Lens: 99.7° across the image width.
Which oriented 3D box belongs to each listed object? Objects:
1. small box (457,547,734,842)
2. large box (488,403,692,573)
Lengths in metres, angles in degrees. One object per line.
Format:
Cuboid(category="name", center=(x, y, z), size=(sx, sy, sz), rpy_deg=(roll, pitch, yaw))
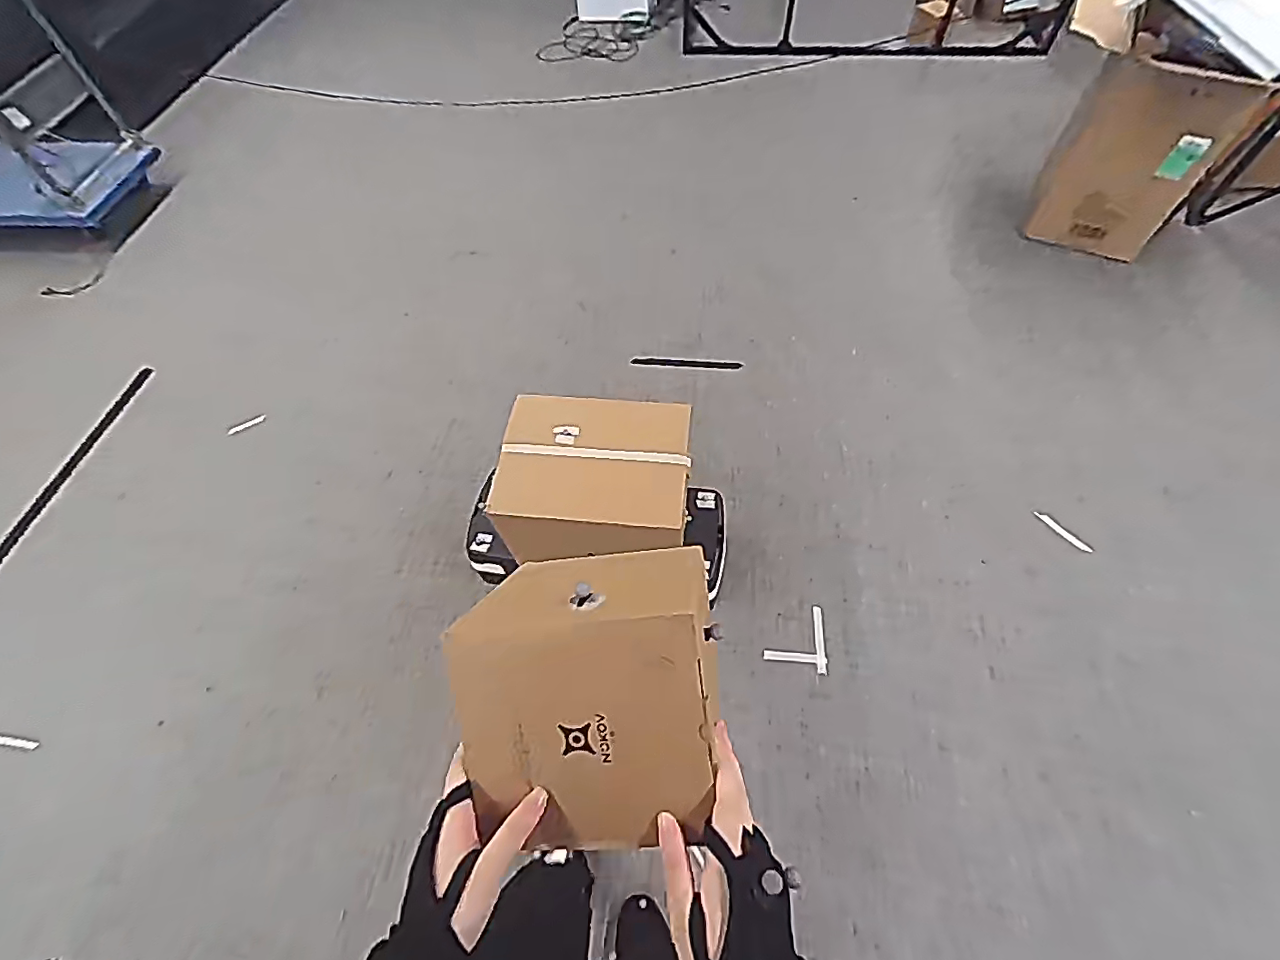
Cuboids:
Cuboid(category="small box", center=(-0.021, 0.156, 0.442), size=(0.179, 0.176, 0.168), rpy_deg=(-5, 96, 9))
Cuboid(category="large box", center=(-0.085, 0.040, 1.272), size=(0.408, 0.320, 0.320), rpy_deg=(4, 58, 7))
